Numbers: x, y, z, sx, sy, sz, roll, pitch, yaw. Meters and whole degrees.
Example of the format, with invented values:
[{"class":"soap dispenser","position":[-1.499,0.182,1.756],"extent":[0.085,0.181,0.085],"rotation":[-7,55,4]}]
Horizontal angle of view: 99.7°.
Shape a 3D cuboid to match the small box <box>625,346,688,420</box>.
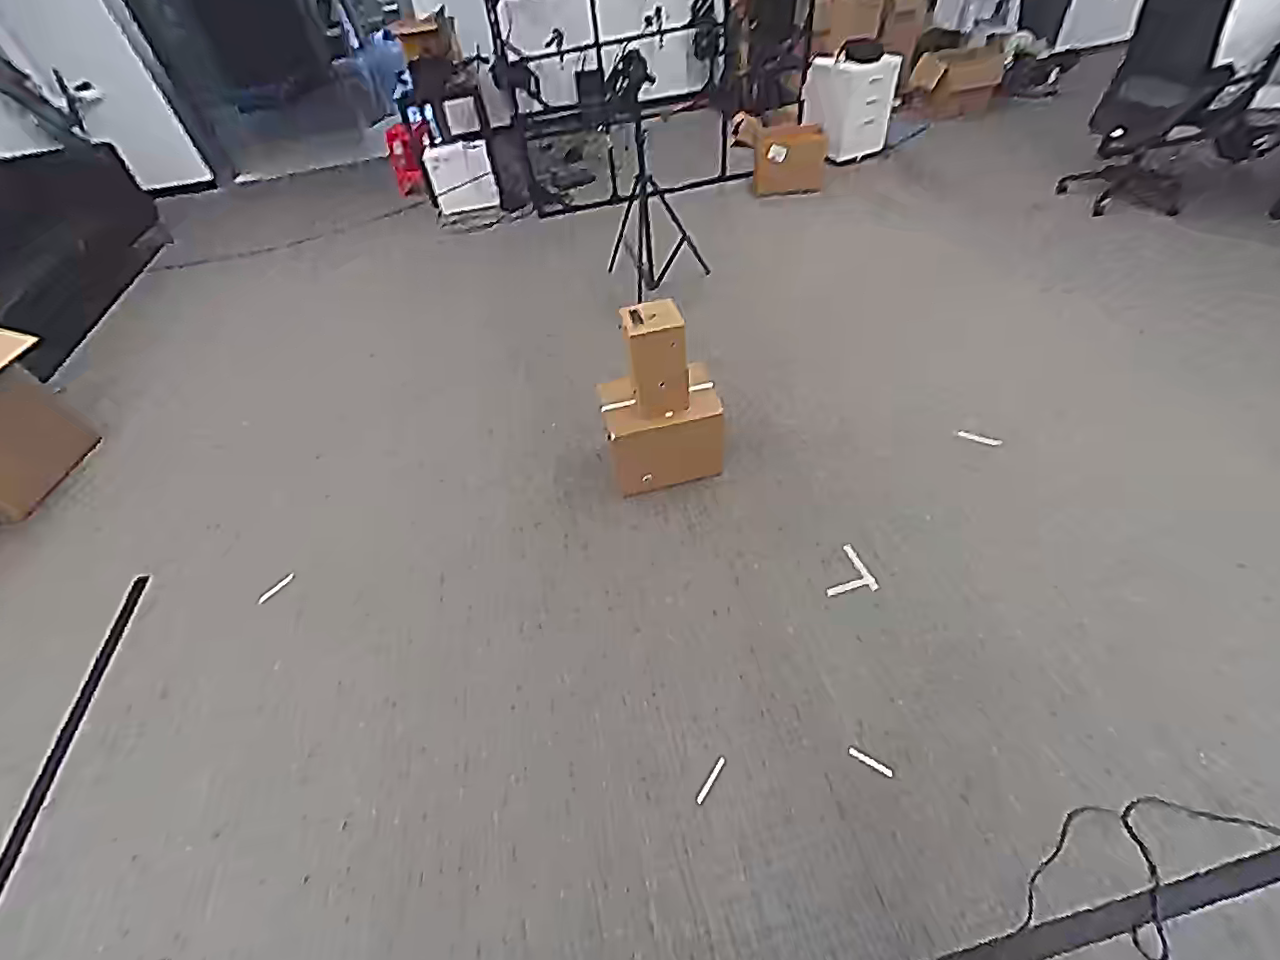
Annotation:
[{"class":"small box","position":[0.059,-0.326,1.846],"extent":[0.179,0.176,0.168],"rotation":[-14,48,-7]}]
